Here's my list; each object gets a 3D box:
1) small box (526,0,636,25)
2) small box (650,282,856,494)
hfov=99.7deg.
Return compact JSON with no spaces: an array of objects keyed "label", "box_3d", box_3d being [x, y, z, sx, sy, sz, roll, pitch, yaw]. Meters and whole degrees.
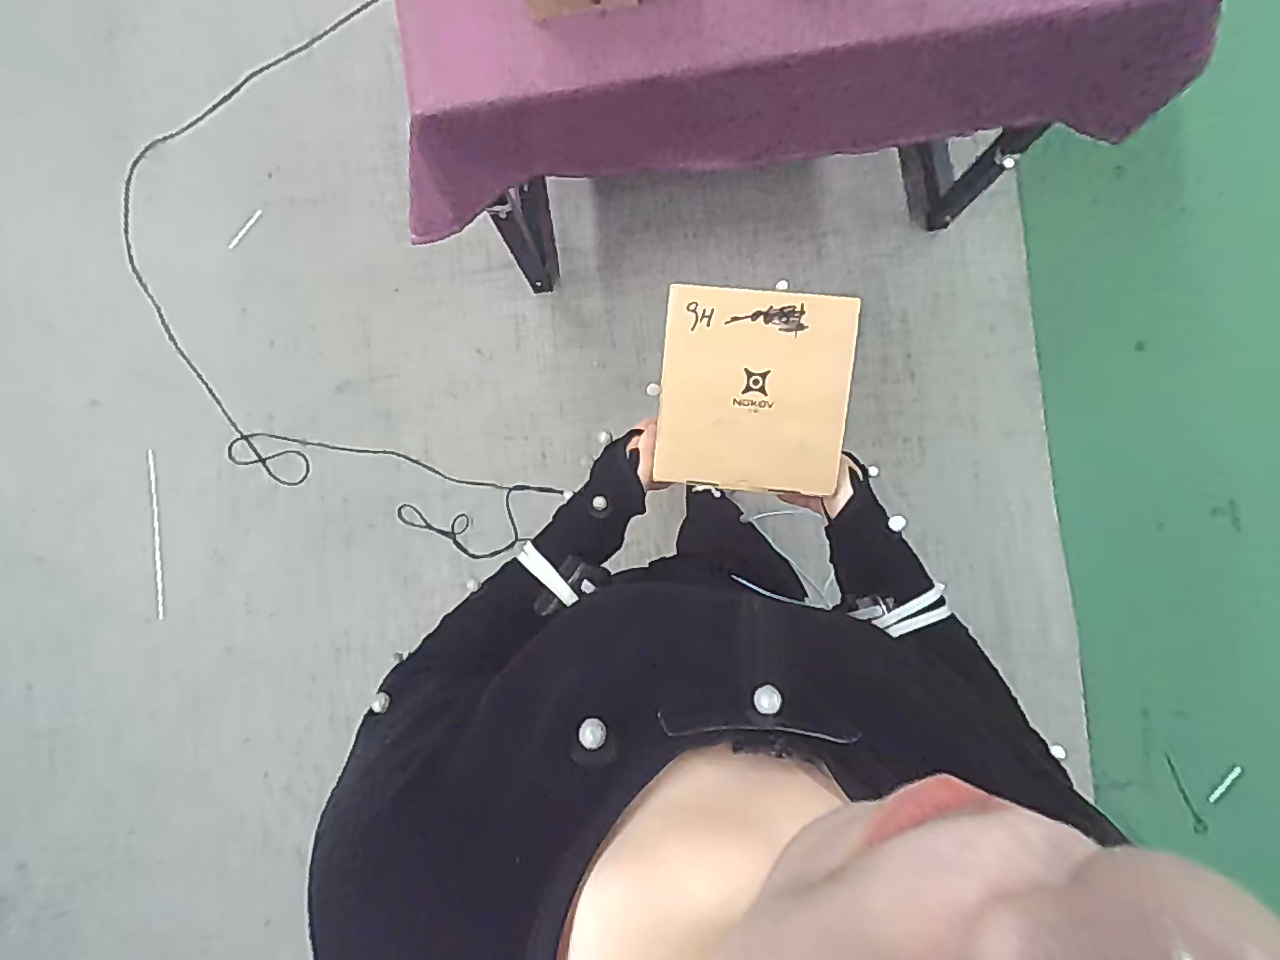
[{"label":"small box","box_3d":[-0.098,-0.785,0.740,0.168,0.176,0.179,-7,86,2]},{"label":"small box","box_3d":[0.102,-0.090,0.552,0.168,0.176,0.179,4,98,3]}]
